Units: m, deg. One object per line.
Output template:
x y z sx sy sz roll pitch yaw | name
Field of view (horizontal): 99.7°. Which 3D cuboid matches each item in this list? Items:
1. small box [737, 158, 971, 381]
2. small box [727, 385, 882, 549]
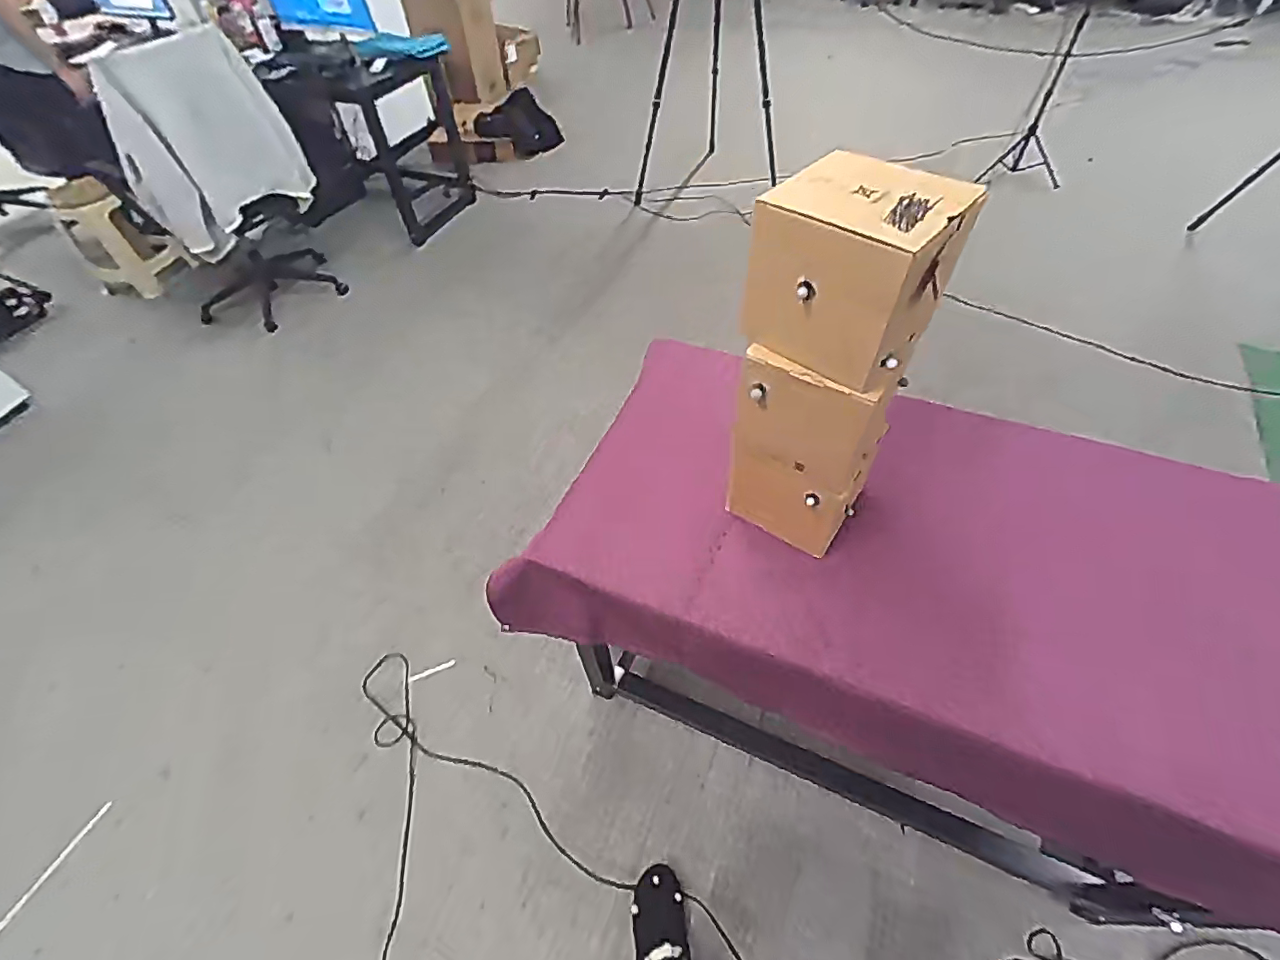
0.234 -0.241 0.631 0.179 0.176 0.168 34 59 27 | small box
0.254 -0.018 0.873 0.179 0.176 0.168 28 57 23 | small box
